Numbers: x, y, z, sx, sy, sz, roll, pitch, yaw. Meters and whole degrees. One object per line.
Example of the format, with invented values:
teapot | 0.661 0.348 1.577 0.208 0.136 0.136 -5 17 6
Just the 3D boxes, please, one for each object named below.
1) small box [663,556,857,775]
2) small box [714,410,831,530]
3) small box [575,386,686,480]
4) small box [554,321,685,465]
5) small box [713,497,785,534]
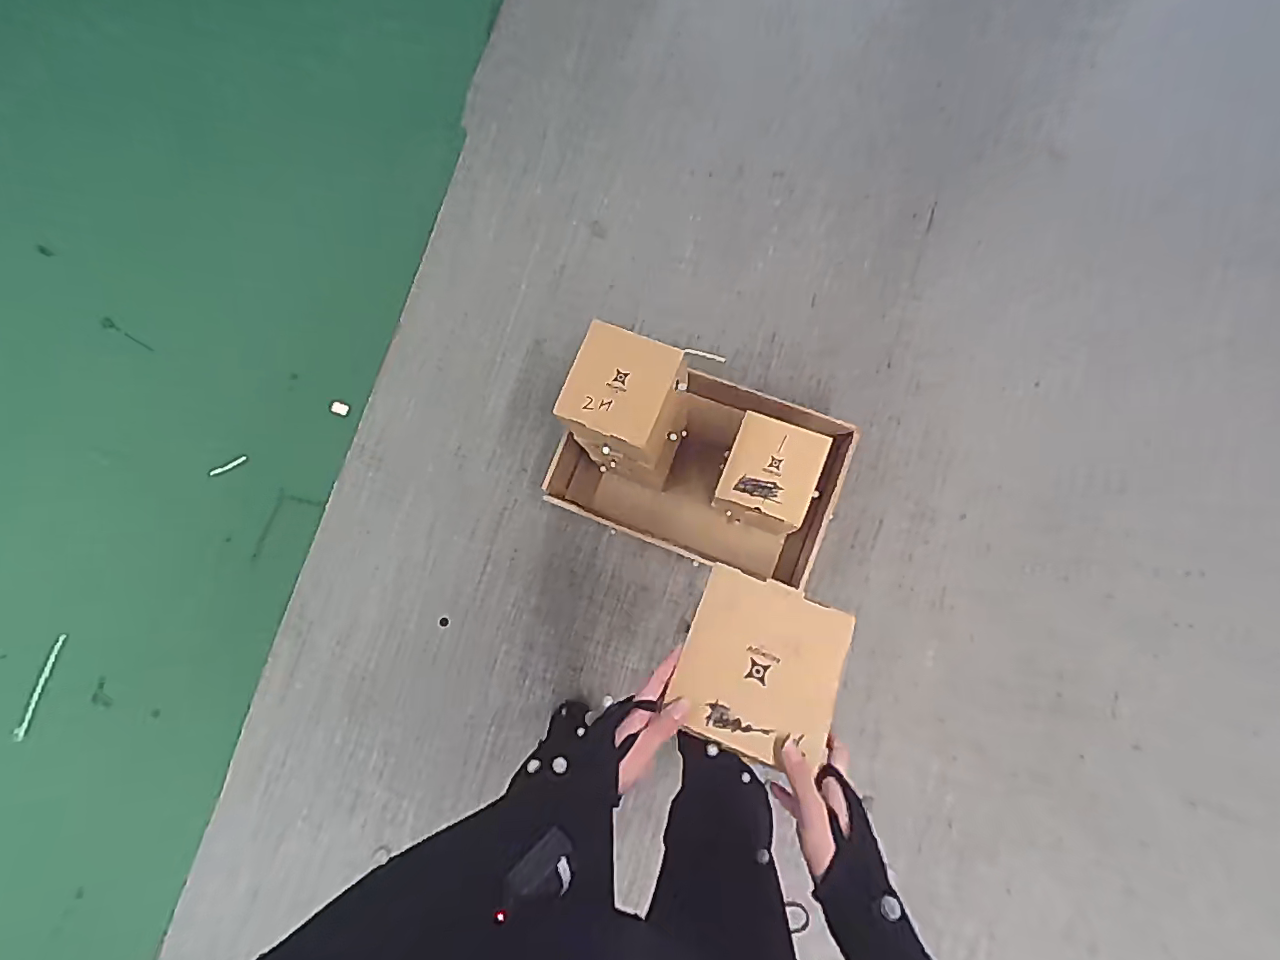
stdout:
small box | 0.130 0.219 0.639 0.168 0.176 0.179 20 67 9
small box | 0.253 -0.010 1.057 0.168 0.176 0.179 21 84 12
small box | -0.012 -0.116 1.111 0.168 0.176 0.179 21 85 9
small box | -0.027 -0.144 0.950 0.168 0.176 0.179 22 85 10
small box | 0.270 0.012 1.218 0.168 0.176 0.179 21 85 12
